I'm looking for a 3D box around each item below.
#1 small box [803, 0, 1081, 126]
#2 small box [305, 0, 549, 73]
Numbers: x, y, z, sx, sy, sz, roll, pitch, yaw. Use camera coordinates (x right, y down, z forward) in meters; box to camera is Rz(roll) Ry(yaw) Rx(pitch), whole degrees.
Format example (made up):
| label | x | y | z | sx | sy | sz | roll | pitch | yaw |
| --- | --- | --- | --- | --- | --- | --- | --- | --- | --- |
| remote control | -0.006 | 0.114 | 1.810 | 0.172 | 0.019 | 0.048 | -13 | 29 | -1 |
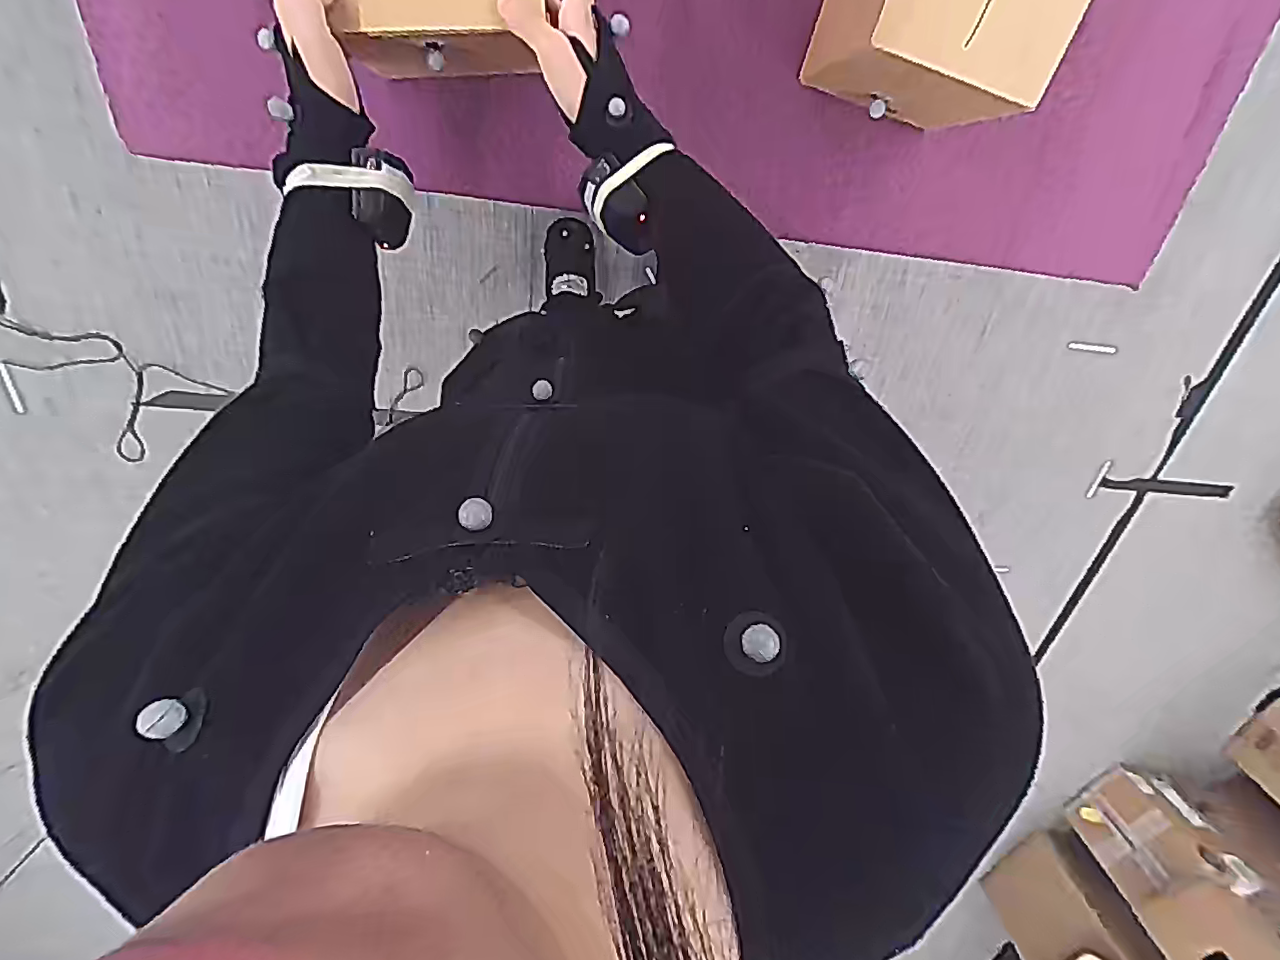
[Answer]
| label | x | y | z | sx | sy | sz | roll | pitch | yaw |
| --- | --- | --- | --- | --- | --- | --- | --- | --- | --- |
| small box | 0.272 | -0.449 | 0.488 | 0.168 | 0.176 | 0.179 | 12 | 117 | -12 |
| small box | -0.170 | -0.450 | 0.442 | 0.179 | 0.176 | 0.168 | -4 | 119 | -3 |
